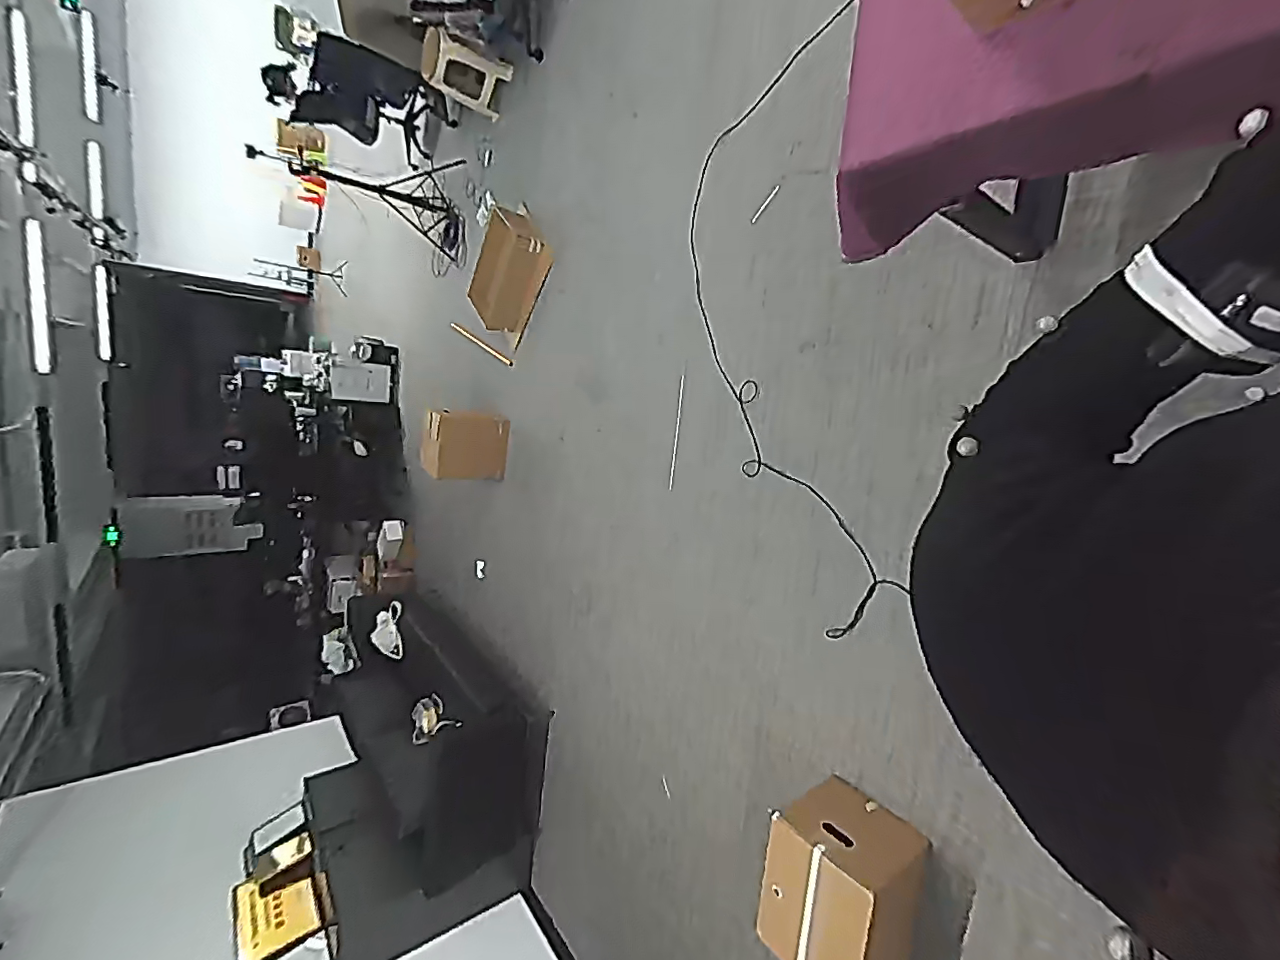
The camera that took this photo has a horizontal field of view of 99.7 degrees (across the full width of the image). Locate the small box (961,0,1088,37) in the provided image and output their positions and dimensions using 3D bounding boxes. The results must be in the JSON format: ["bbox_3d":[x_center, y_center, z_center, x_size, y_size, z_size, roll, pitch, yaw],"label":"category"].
[{"bbox_3d":[0.456,-0.661,0.605,0.168,0.176,0.179,17,104,50],"label":"small box"}]
